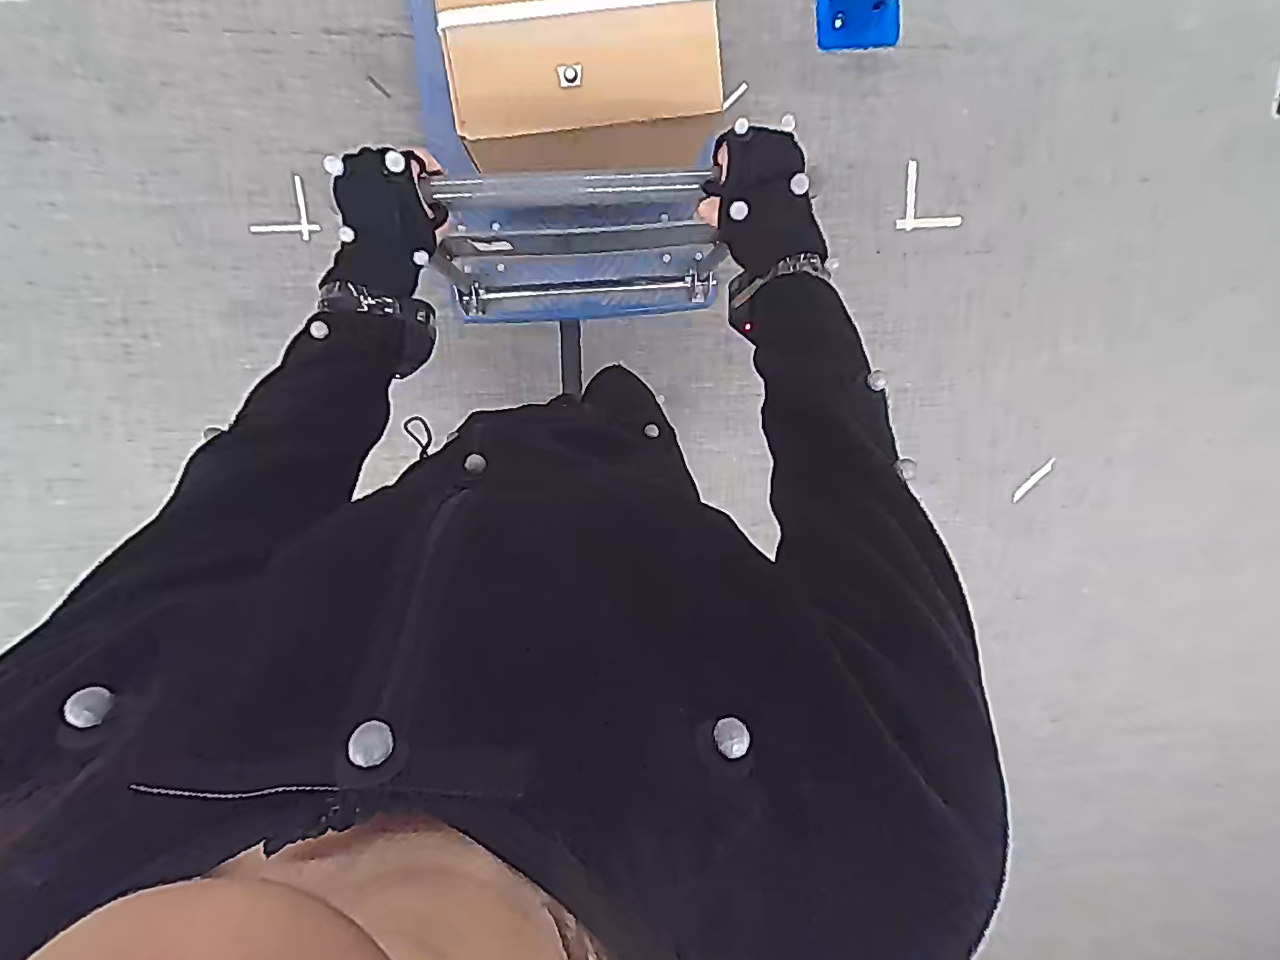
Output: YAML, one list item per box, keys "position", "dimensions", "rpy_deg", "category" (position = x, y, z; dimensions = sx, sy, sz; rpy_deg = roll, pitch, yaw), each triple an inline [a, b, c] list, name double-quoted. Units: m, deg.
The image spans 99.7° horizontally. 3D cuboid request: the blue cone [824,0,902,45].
- position: [0.528, -1.077, 1.084]
  dimensions: [0.193, 0.380, 0.192]
  rpy_deg: [-6, 102, -5]
  category: "blue cone"
